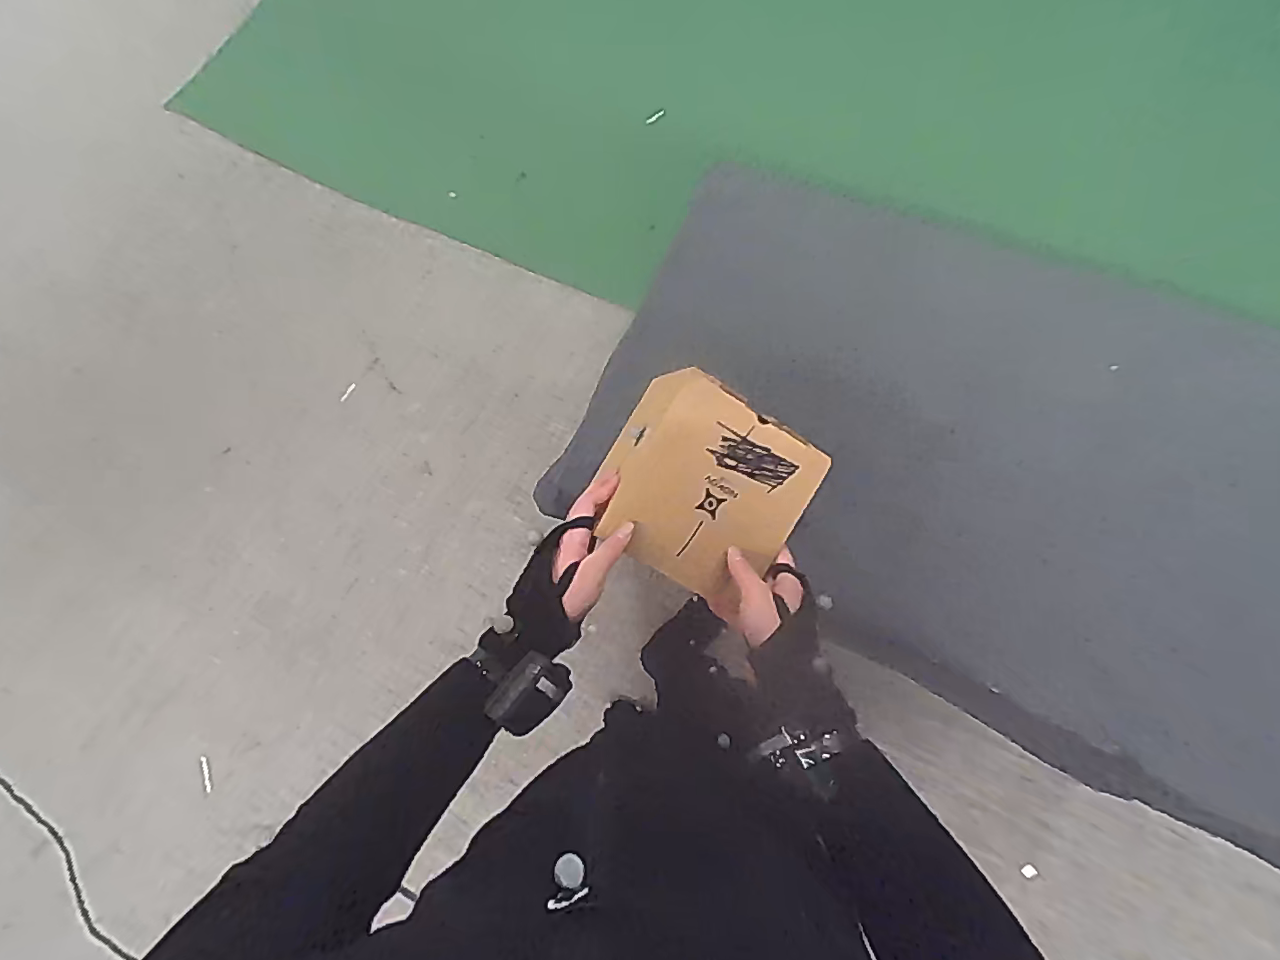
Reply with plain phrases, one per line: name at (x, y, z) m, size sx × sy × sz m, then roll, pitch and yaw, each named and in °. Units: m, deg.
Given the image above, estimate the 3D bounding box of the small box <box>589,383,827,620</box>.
small box at (0.057, 0.014, 0.585) m, size 0.168 × 0.176 × 0.179 m, roll 31°, pitch 91°, yaw -13°
